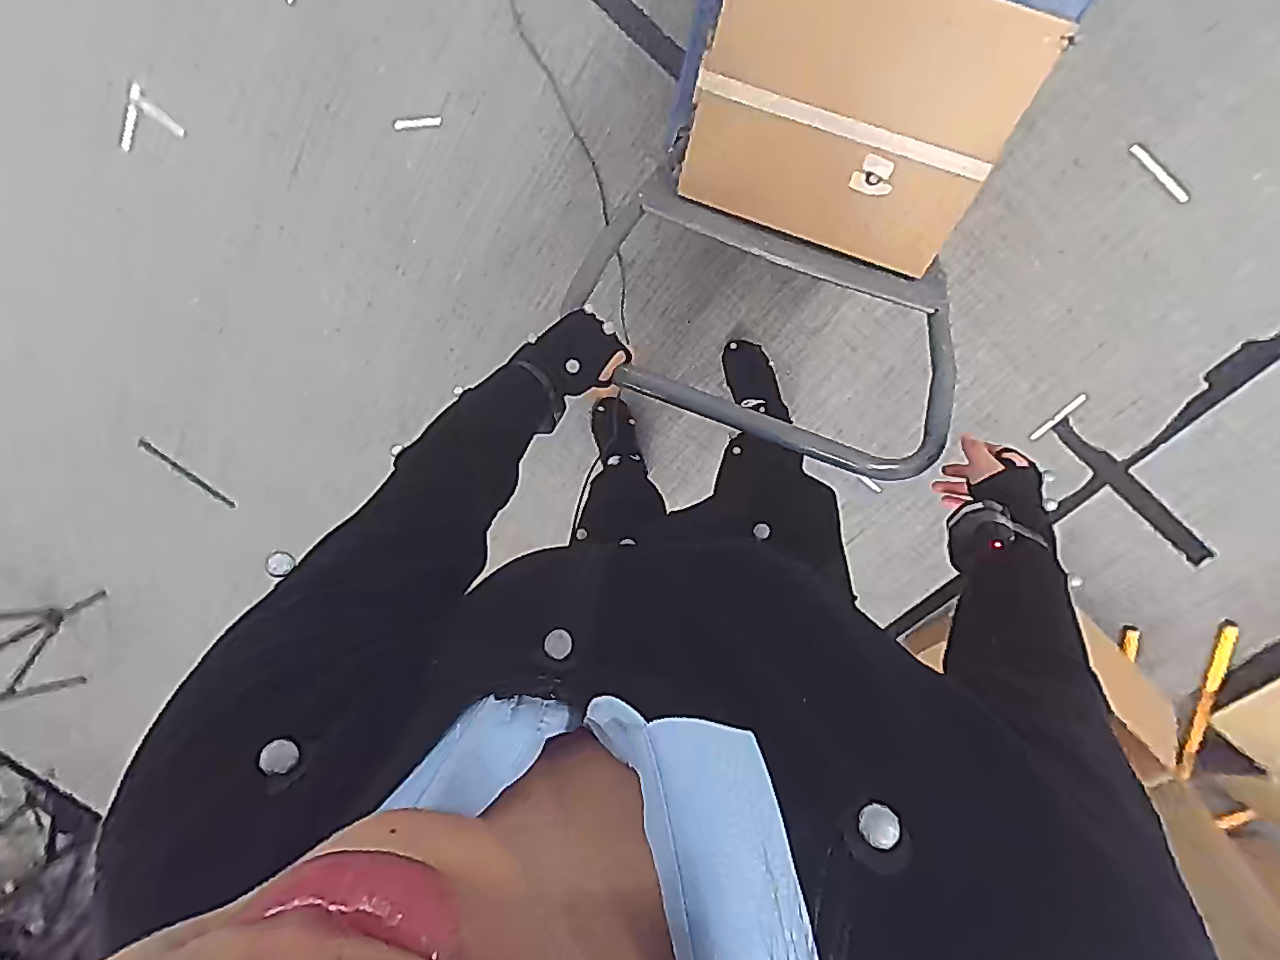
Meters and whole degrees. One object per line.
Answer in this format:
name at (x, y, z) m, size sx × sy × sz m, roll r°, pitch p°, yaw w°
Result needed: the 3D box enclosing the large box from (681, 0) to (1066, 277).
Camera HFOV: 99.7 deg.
large box at (0.317, -0.580, 0.846) m, size 0.408 × 0.320 × 0.320 m, roll 20°, pitch 137°, yaw 2°
